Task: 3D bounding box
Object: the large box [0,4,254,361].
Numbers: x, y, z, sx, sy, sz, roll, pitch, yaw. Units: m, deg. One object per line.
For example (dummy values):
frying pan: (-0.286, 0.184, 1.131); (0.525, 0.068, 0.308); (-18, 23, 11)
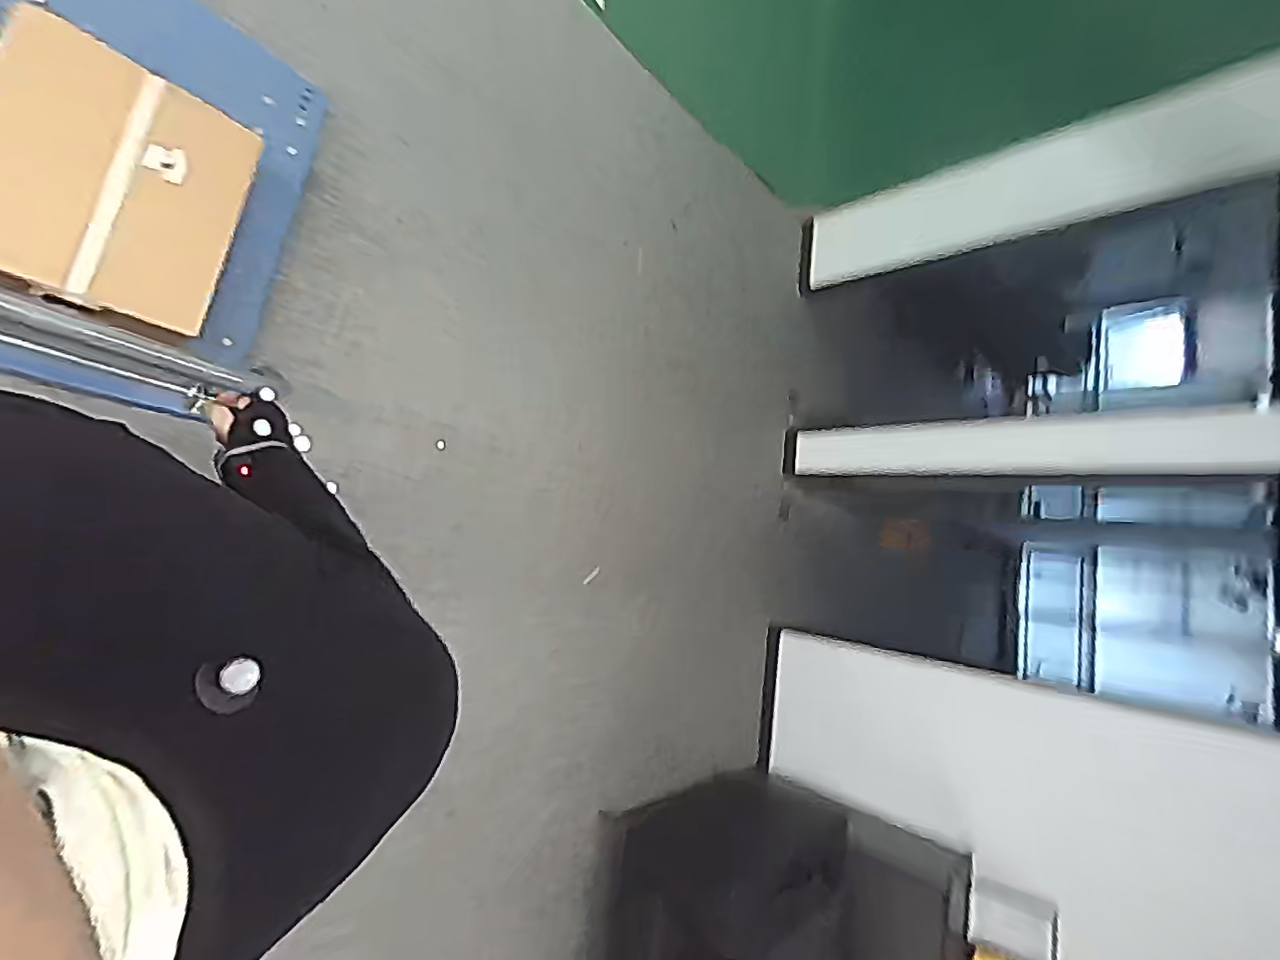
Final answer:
large box: (-0.957, -0.475, 0.971); (0.320, 0.320, 0.408); (19, 76, -46)
